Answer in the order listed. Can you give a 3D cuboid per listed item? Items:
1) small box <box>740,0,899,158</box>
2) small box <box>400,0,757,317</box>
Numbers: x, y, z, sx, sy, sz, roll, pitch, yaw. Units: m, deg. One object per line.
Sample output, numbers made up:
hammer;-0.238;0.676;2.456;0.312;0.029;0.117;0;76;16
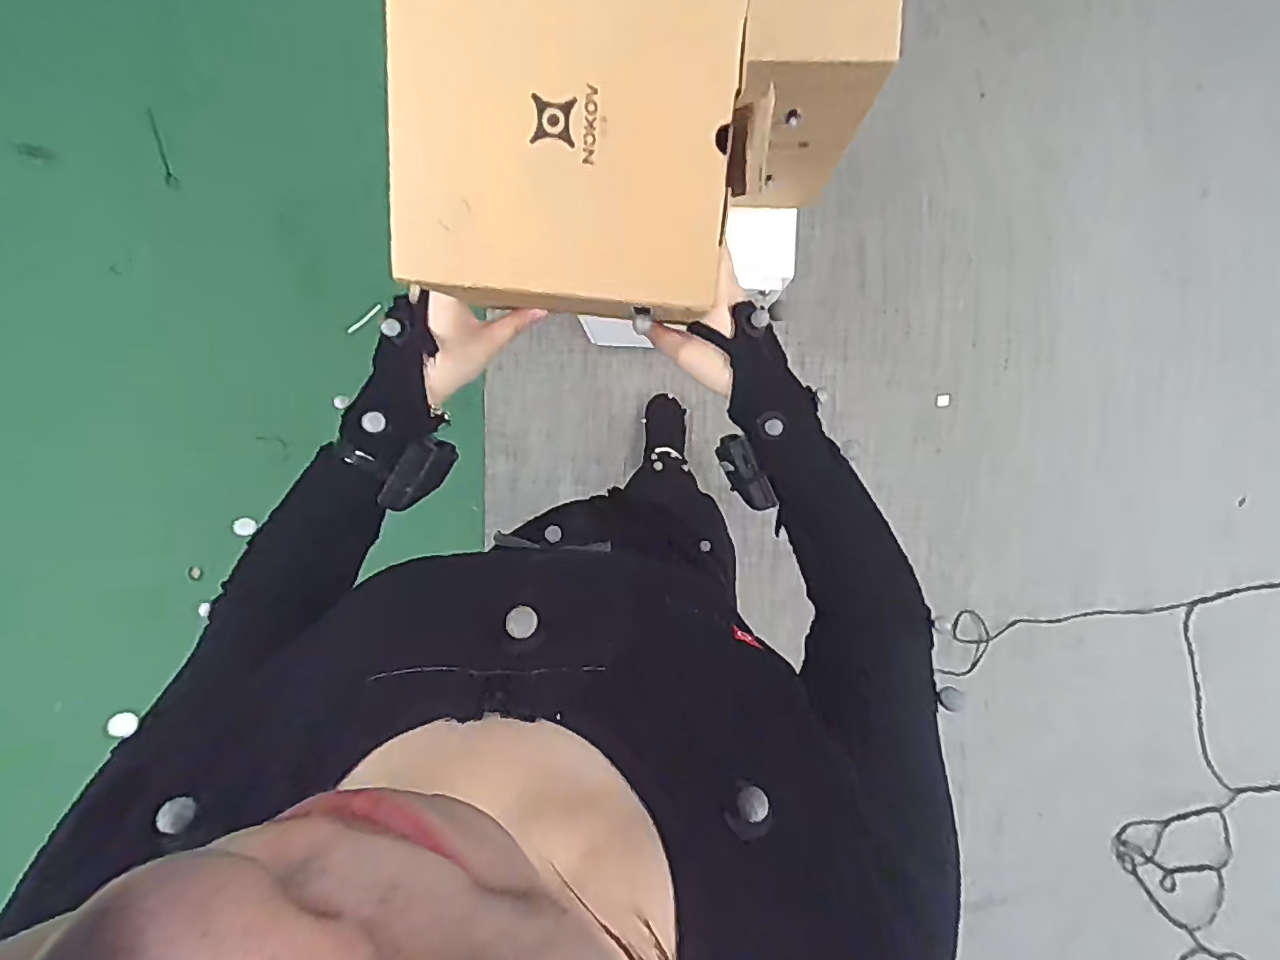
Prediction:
small box;0.188;-0.508;0.636;0.168;0.176;0.179;2;92;2
small box;-0.034;-0.201;0.353;0.179;0.176;0.168;4;103;-2
